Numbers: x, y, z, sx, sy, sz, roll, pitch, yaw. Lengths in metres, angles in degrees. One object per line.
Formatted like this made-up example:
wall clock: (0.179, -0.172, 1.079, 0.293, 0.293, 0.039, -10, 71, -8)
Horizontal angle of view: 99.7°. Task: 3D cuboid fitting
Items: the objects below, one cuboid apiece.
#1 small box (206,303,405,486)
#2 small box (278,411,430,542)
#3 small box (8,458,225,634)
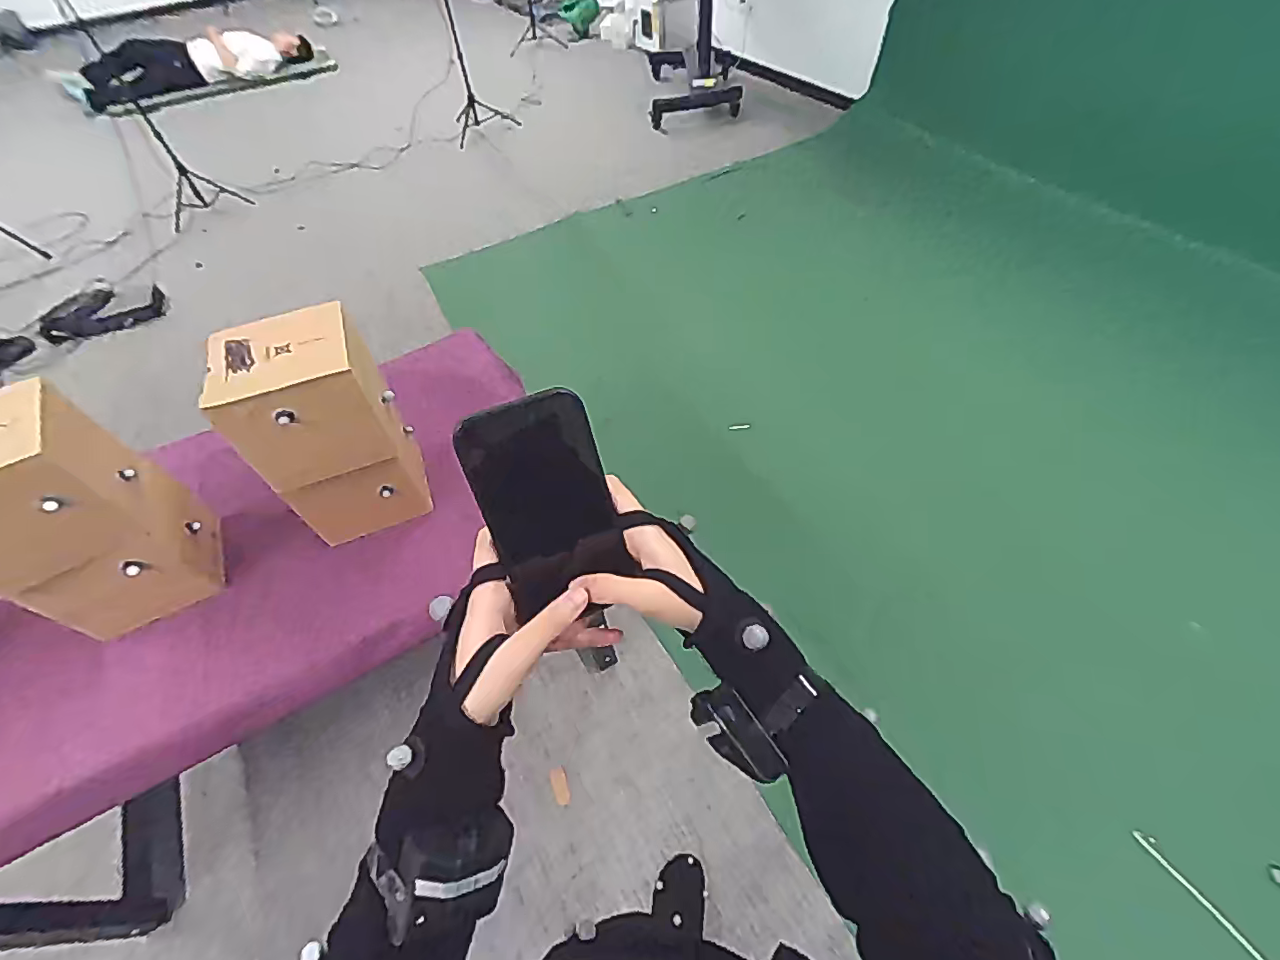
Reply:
small box: (-0.462, -0.117, 0.769, 0.179, 0.176, 0.168, -20, 54, -11)
small box: (-0.467, -0.025, 0.905, 0.179, 0.176, 0.168, -20, 54, -10)
small box: (-0.773, 0.103, 0.826, 0.179, 0.176, 0.168, -25, 55, -14)
